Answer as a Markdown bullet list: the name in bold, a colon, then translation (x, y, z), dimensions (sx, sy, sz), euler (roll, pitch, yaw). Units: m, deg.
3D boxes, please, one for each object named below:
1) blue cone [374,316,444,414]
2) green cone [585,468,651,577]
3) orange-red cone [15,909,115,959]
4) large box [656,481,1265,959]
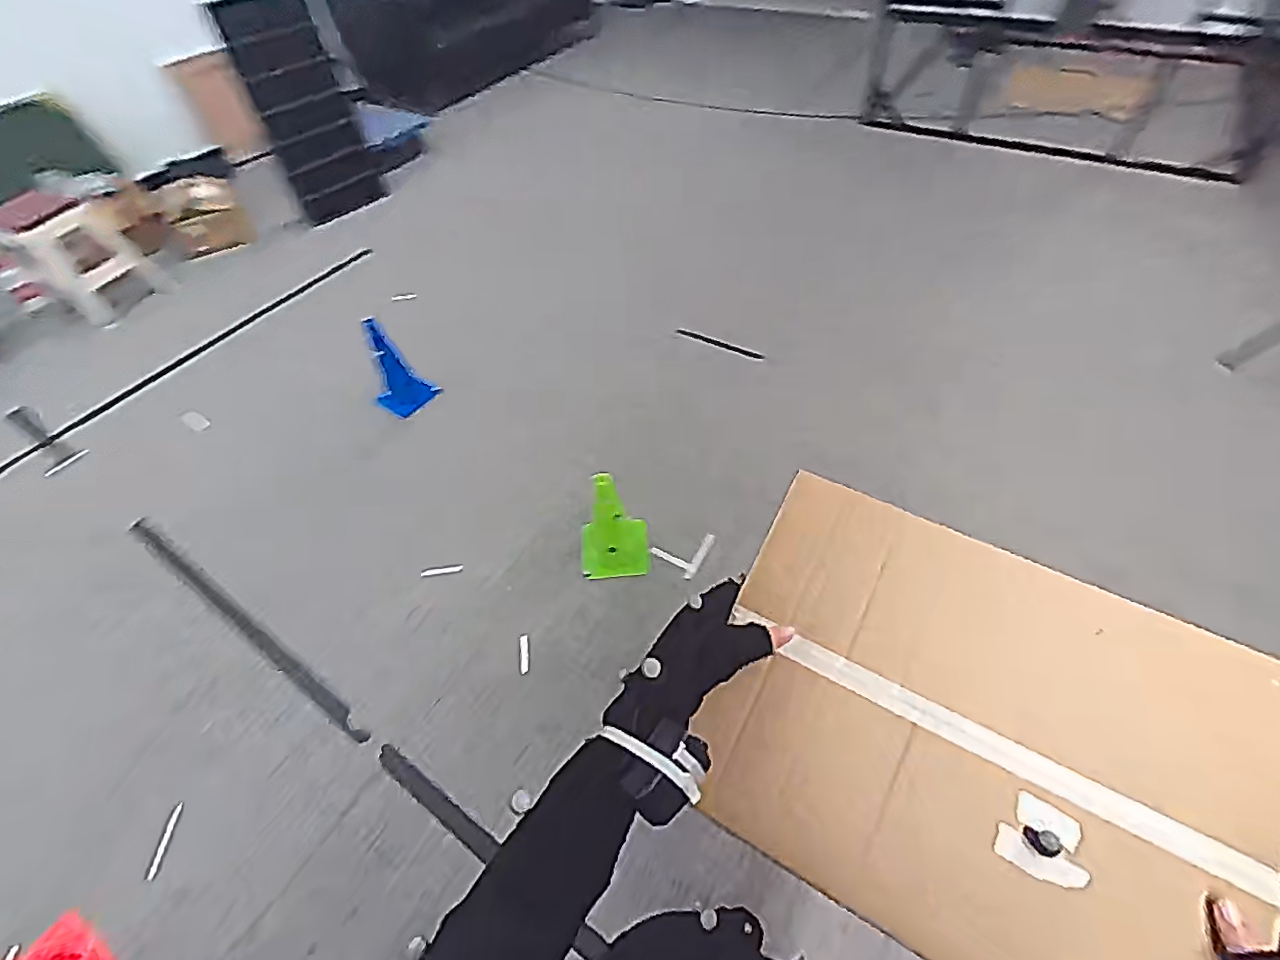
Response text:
- **blue cone**: translation (-0.927, -0.450, 2.061), dimensions (0.193, 0.380, 0.192), euler (29, 59, 24)
- **green cone**: translation (-0.079, 0.100, 1.552), dimensions (0.200, 0.368, 0.202), euler (-5, 51, -1)
- **orange-red cone**: translation (-1.230, 0.946, 0.984), dimensions (0.199, 0.360, 0.198), euler (25, 59, 20)
- **large box**: translation (0.272, 0.253, 0.578), dimensions (0.408, 0.320, 0.320), euler (23, 75, 17)
